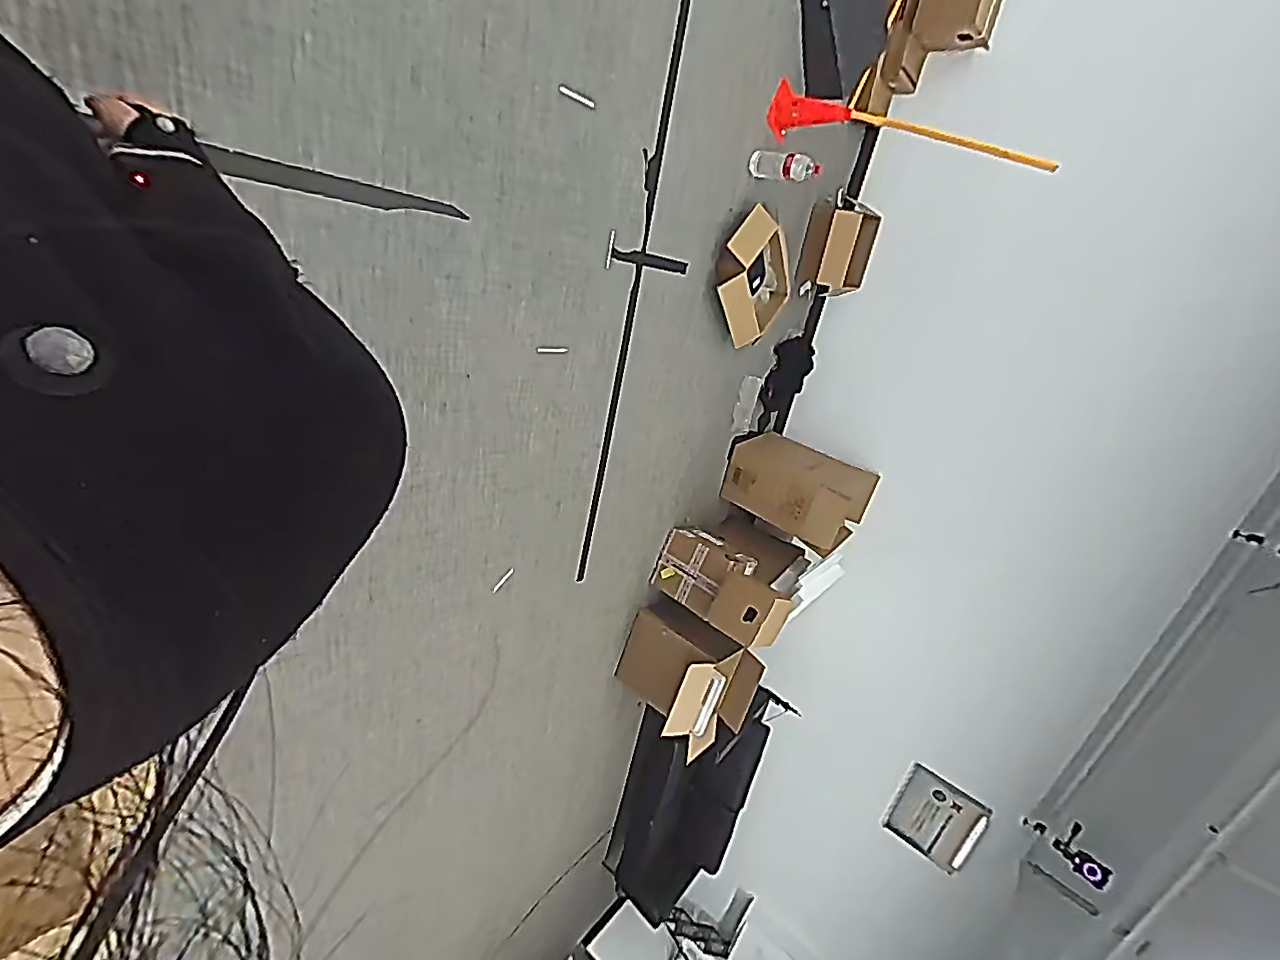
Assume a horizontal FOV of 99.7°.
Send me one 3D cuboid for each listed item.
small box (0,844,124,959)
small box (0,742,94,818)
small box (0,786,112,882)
[{"bbox_3d":[-1.155,0.868,1.054,0.168,0.176,0.179,-23,130,-46],"label":"small box"},{"bbox_3d":[-1.397,0.735,1.233,0.168,0.176,0.179,-21,130,-47],"label":"small box"},{"bbox_3d":[-1.273,0.802,1.149,0.168,0.176,0.179,-23,132,-46],"label":"small box"}]
